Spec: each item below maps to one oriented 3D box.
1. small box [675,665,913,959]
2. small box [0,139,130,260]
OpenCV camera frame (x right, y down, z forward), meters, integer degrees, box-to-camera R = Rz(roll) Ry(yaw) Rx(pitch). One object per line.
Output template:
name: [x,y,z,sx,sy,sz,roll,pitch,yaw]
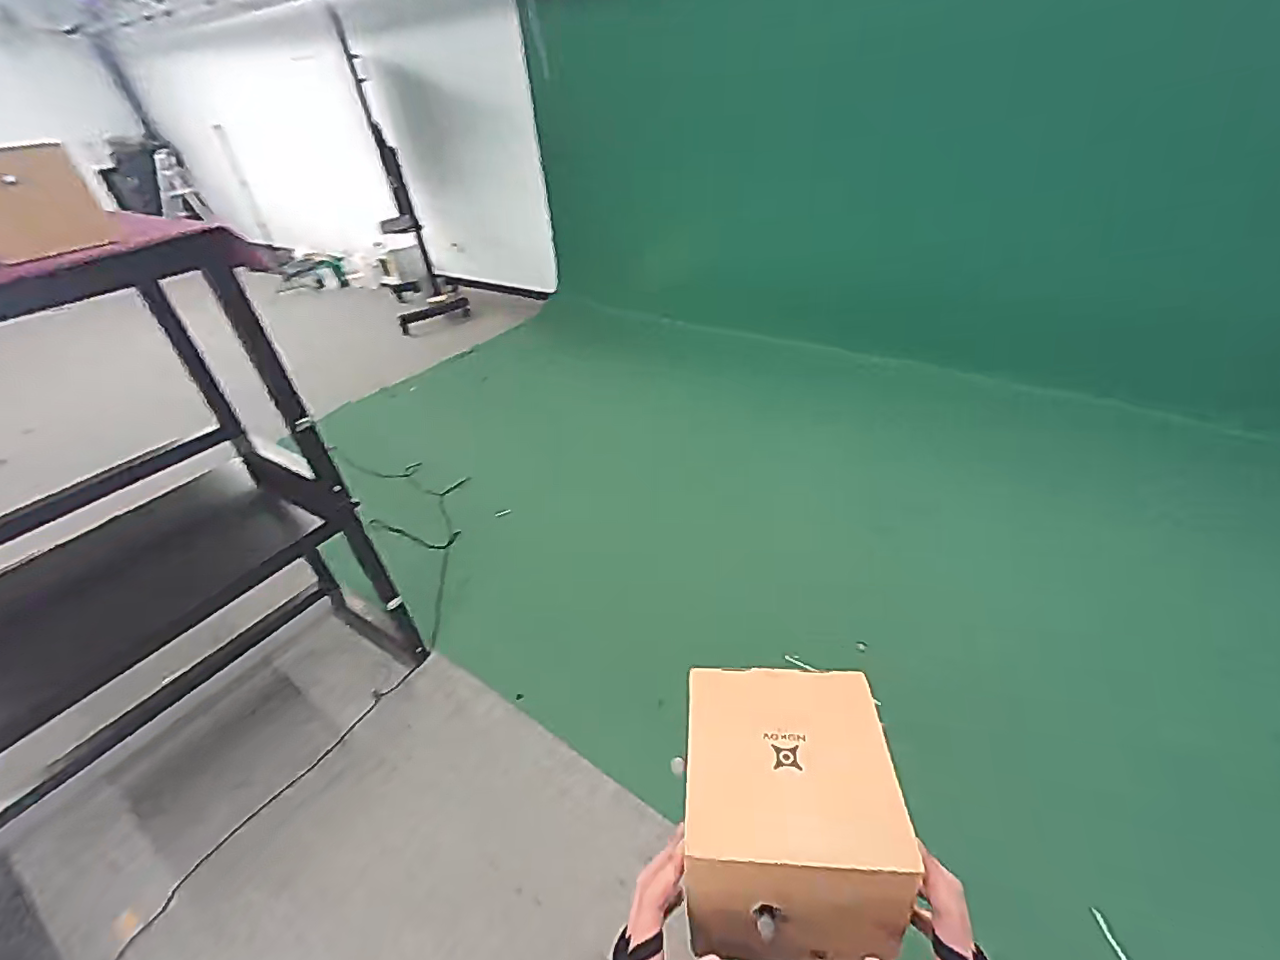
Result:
small box: [0.123,0.291,0.484,0.168,0.176,0.179,-2,28,8]
small box: [-1.114,-0.515,0.995,0.168,0.176,0.179,19,43,30]
